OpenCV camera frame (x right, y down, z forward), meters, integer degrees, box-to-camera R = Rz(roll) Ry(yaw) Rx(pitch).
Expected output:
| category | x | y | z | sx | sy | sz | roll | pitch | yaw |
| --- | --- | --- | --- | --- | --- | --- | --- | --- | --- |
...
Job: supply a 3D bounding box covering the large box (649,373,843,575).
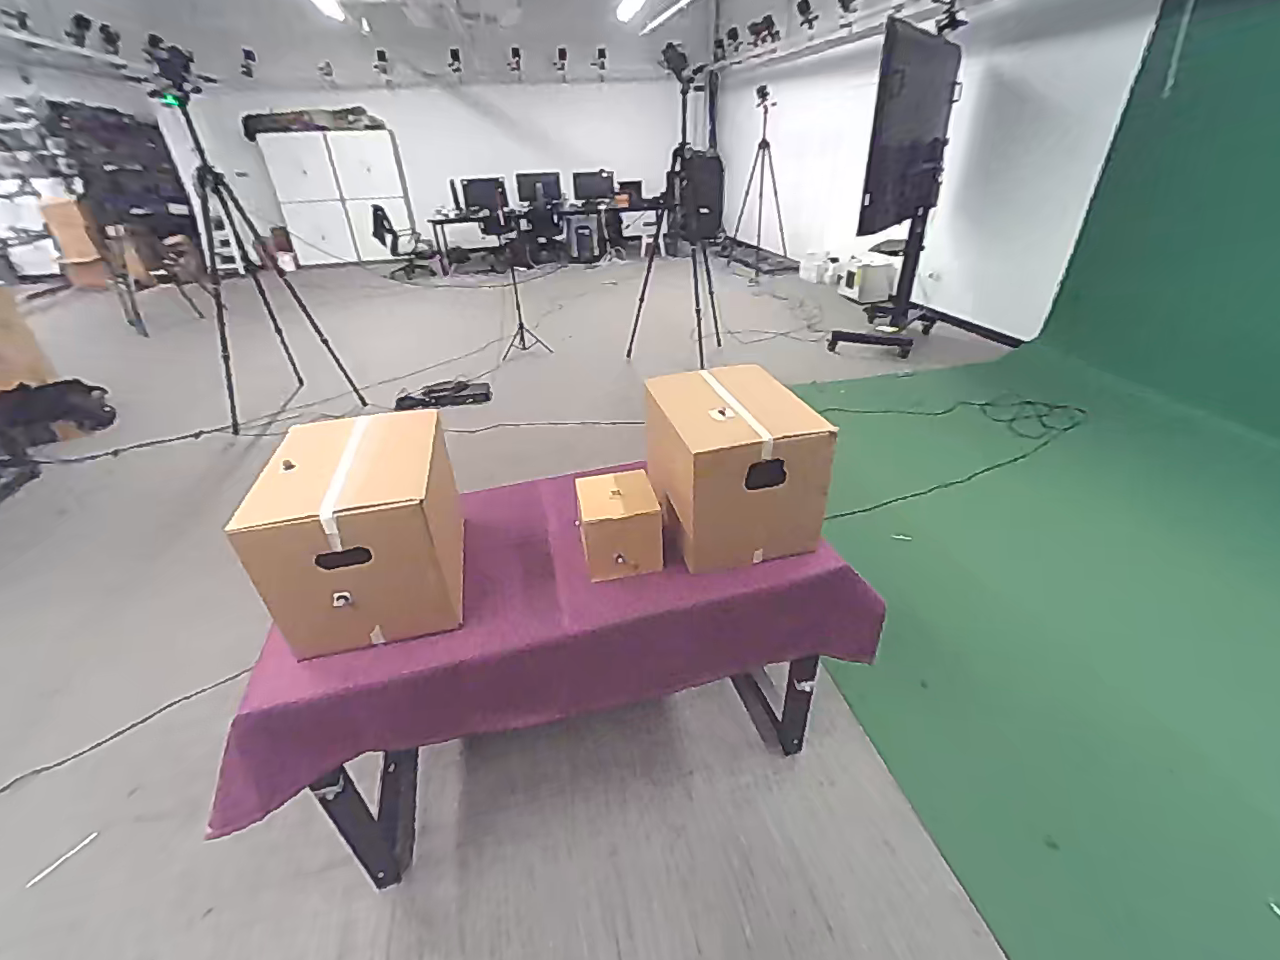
| category | x | y | z | sx | sy | sz | roll | pitch | yaw |
| --- | --- | --- | --- | --- | --- | --- | --- | --- | --- |
| large box | 0.219 | -0.034 | 1.307 | 0.320 | 0.320 | 0.408 | -9 | 33 | -10 |
